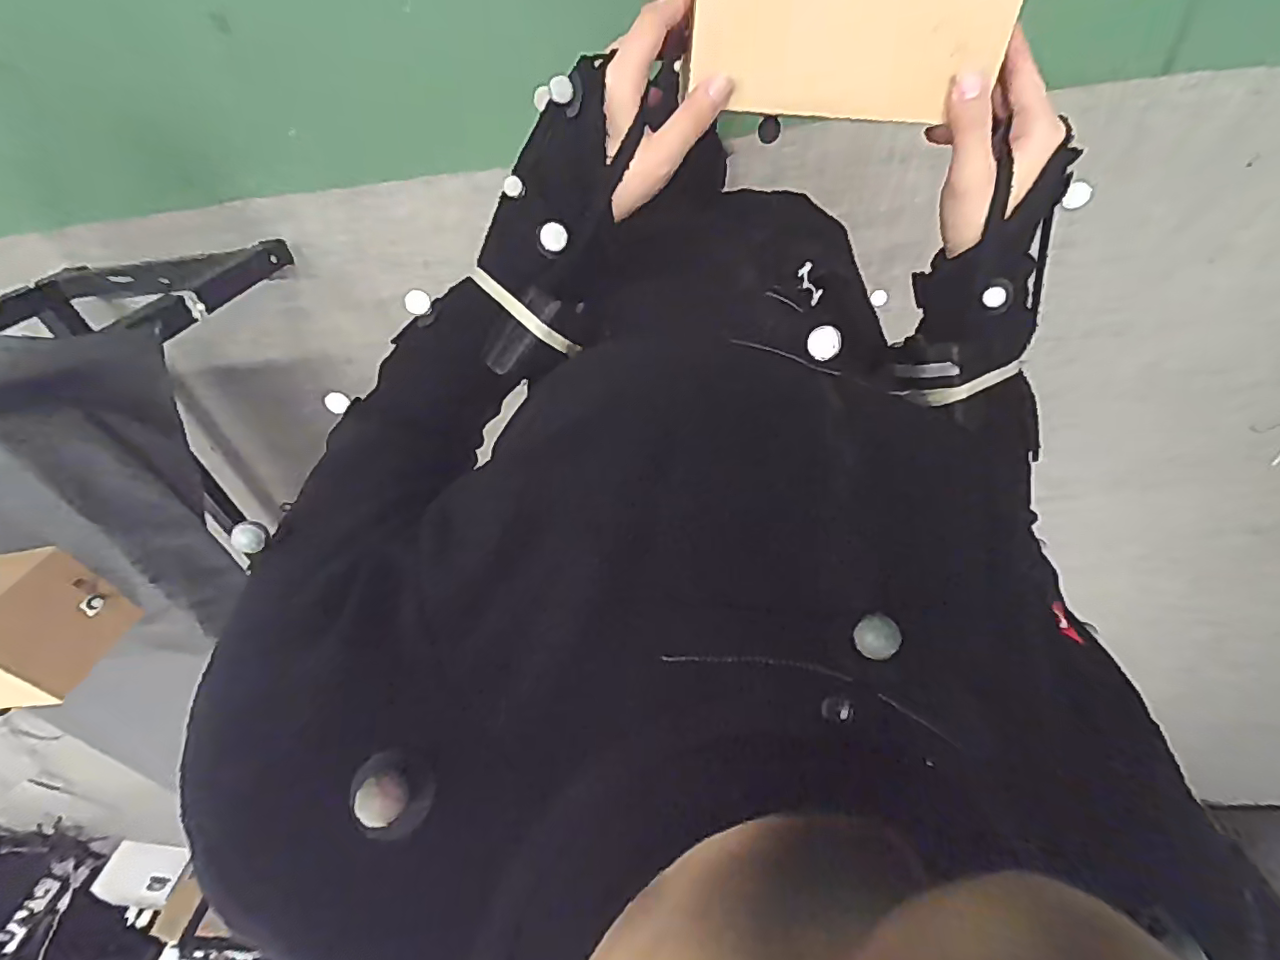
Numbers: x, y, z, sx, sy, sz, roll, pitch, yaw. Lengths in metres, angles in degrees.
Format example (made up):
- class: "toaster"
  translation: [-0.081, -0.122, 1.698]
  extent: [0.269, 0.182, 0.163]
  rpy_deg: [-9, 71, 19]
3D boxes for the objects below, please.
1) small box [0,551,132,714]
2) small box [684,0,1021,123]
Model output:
- class: "small box"
  translation: [-0.934, 0.226, 0.800]
  extent: [0.179, 0.176, 0.168]
  rpy_deg: [-10, 131, 11]
- class: "small box"
  translation: [0.115, -0.321, 0.317]
  extent: [0.168, 0.176, 0.179]
  rpy_deg: [4, 124, 0]
